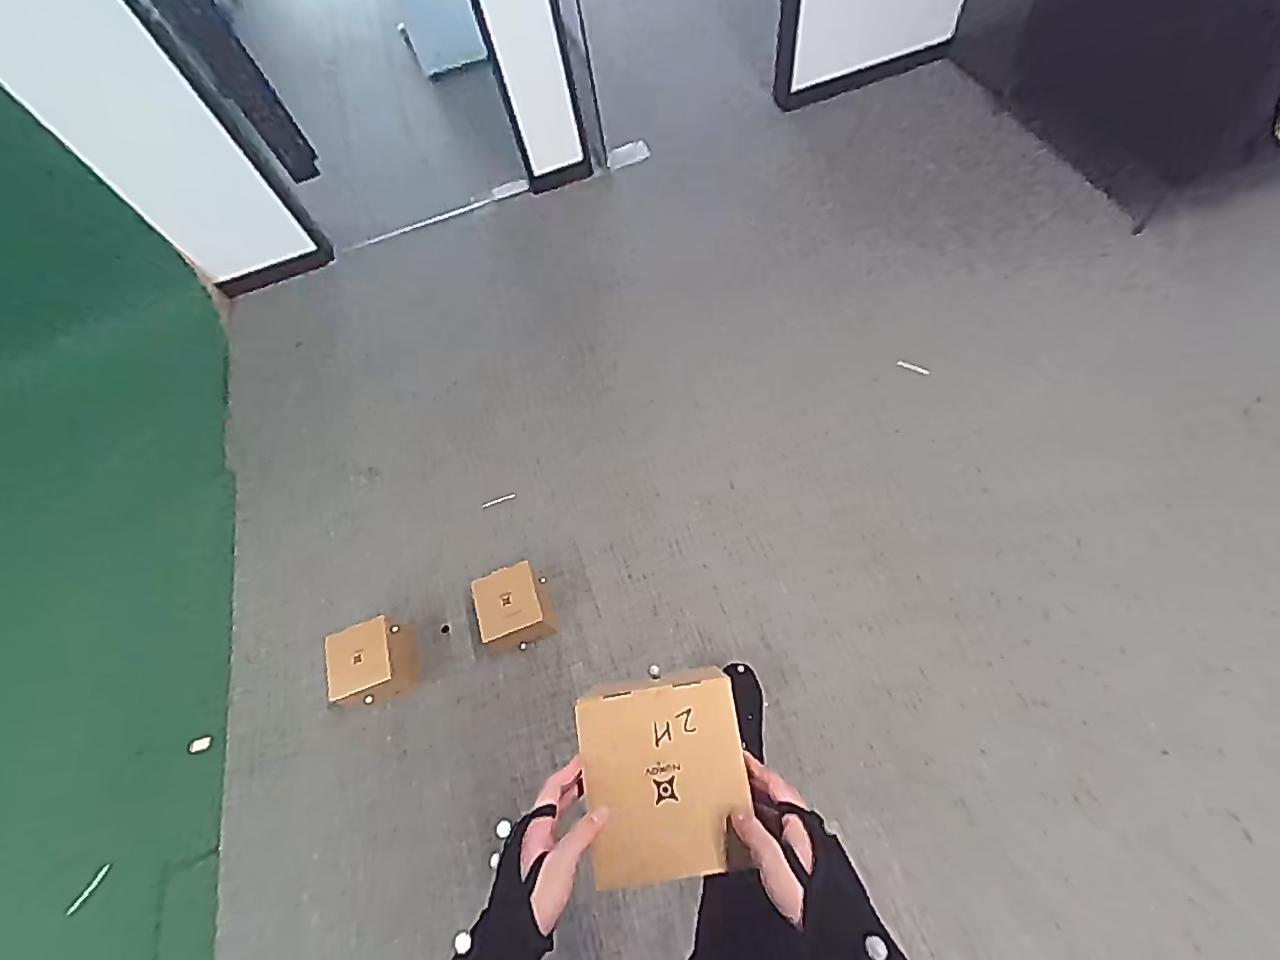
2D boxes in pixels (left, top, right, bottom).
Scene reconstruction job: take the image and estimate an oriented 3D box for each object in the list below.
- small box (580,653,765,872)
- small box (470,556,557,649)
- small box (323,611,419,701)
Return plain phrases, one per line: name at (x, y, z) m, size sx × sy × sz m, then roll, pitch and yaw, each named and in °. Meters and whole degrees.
small box at (0.034, 0.302, 0.615) m, size 0.168 × 0.176 × 0.179 m, roll -9°, pitch 74°, yaw 0°
small box at (-0.339, 0.335, 1.465) m, size 0.168 × 0.176 × 0.179 m, roll -21°, pitch 62°, yaw -2°
small box at (-0.712, 0.477, 1.442) m, size 0.168 × 0.176 × 0.179 m, roll -21°, pitch 61°, yaw -3°
